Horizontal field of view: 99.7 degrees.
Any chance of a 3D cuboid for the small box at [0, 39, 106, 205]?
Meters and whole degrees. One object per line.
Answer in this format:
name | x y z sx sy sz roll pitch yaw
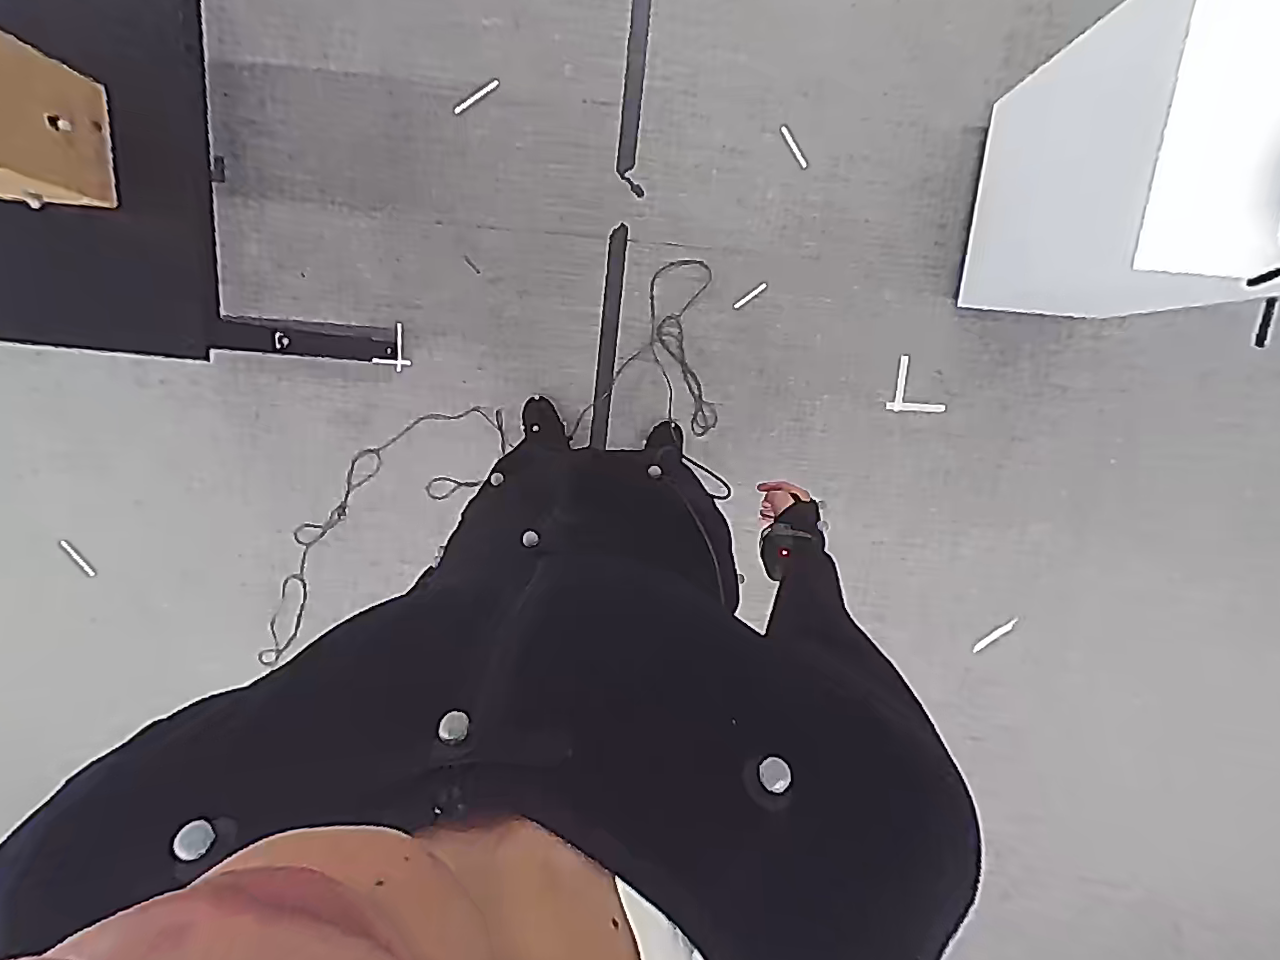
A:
small box | -0.869 -0.480 0.718 0.179 0.176 0.168 3 101 0
